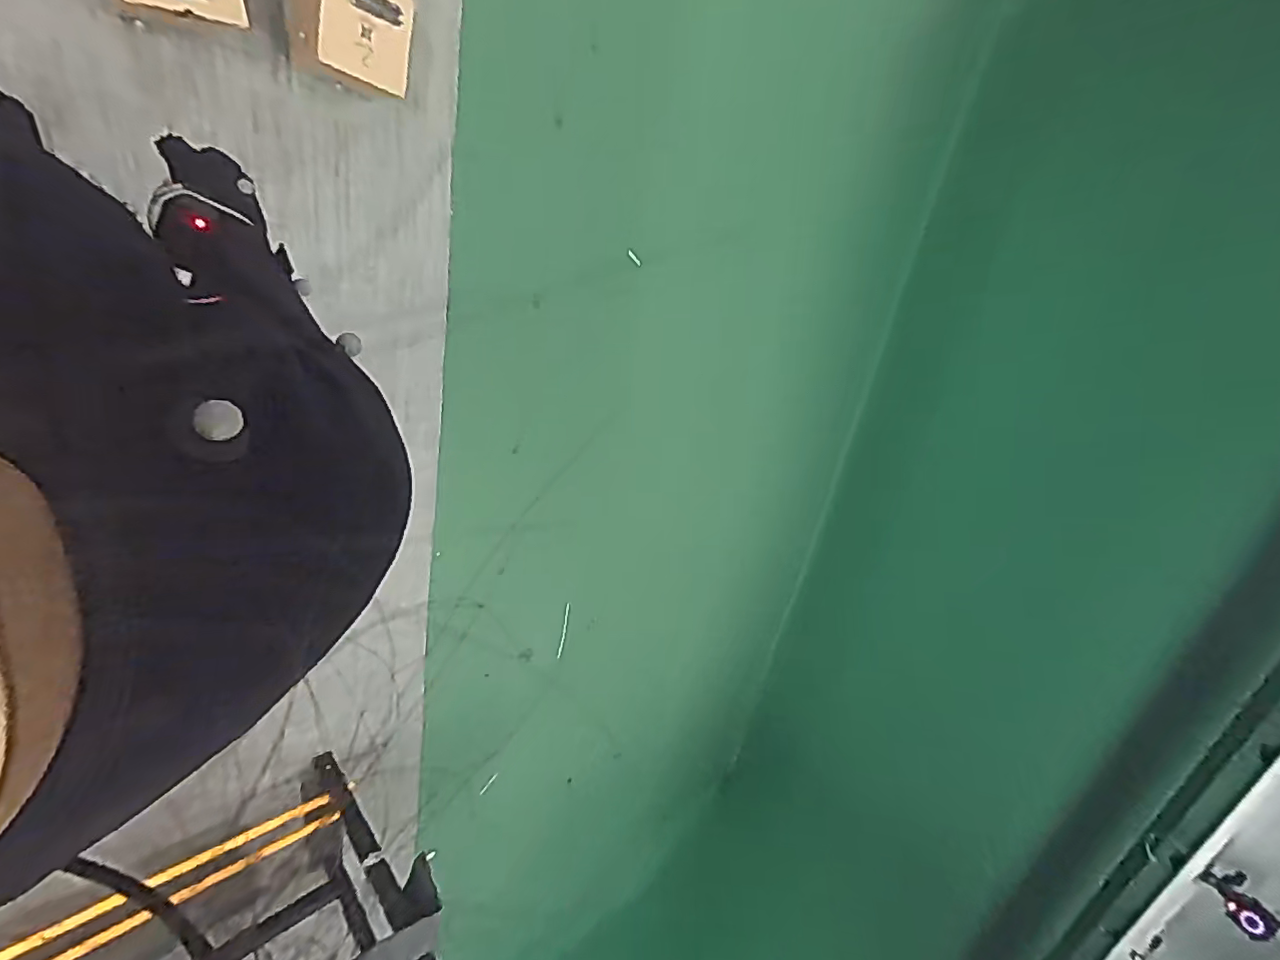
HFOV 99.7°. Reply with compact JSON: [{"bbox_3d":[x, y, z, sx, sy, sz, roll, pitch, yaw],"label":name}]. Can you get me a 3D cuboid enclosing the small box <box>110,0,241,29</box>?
[{"bbox_3d":[-0.776,-0.858,0.868,0.168,0.176,0.179,-21,127,-41],"label":"small box"}]
